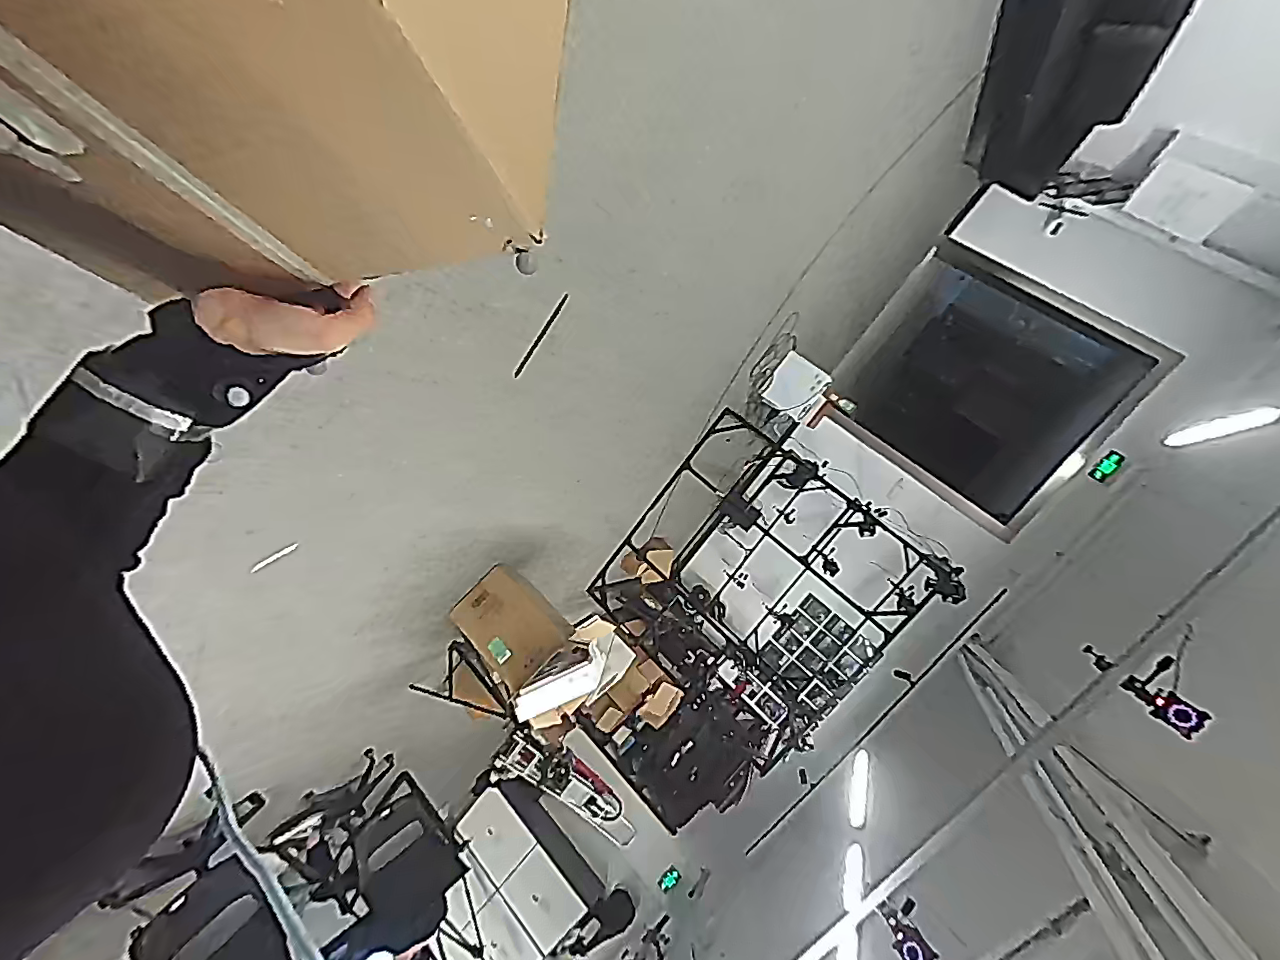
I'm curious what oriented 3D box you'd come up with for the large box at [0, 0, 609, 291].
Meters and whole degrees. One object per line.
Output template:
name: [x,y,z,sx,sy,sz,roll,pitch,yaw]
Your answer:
large box: [-0.222,-0.342,0.210,0.408,0.320,0.320,43,48,-66]
